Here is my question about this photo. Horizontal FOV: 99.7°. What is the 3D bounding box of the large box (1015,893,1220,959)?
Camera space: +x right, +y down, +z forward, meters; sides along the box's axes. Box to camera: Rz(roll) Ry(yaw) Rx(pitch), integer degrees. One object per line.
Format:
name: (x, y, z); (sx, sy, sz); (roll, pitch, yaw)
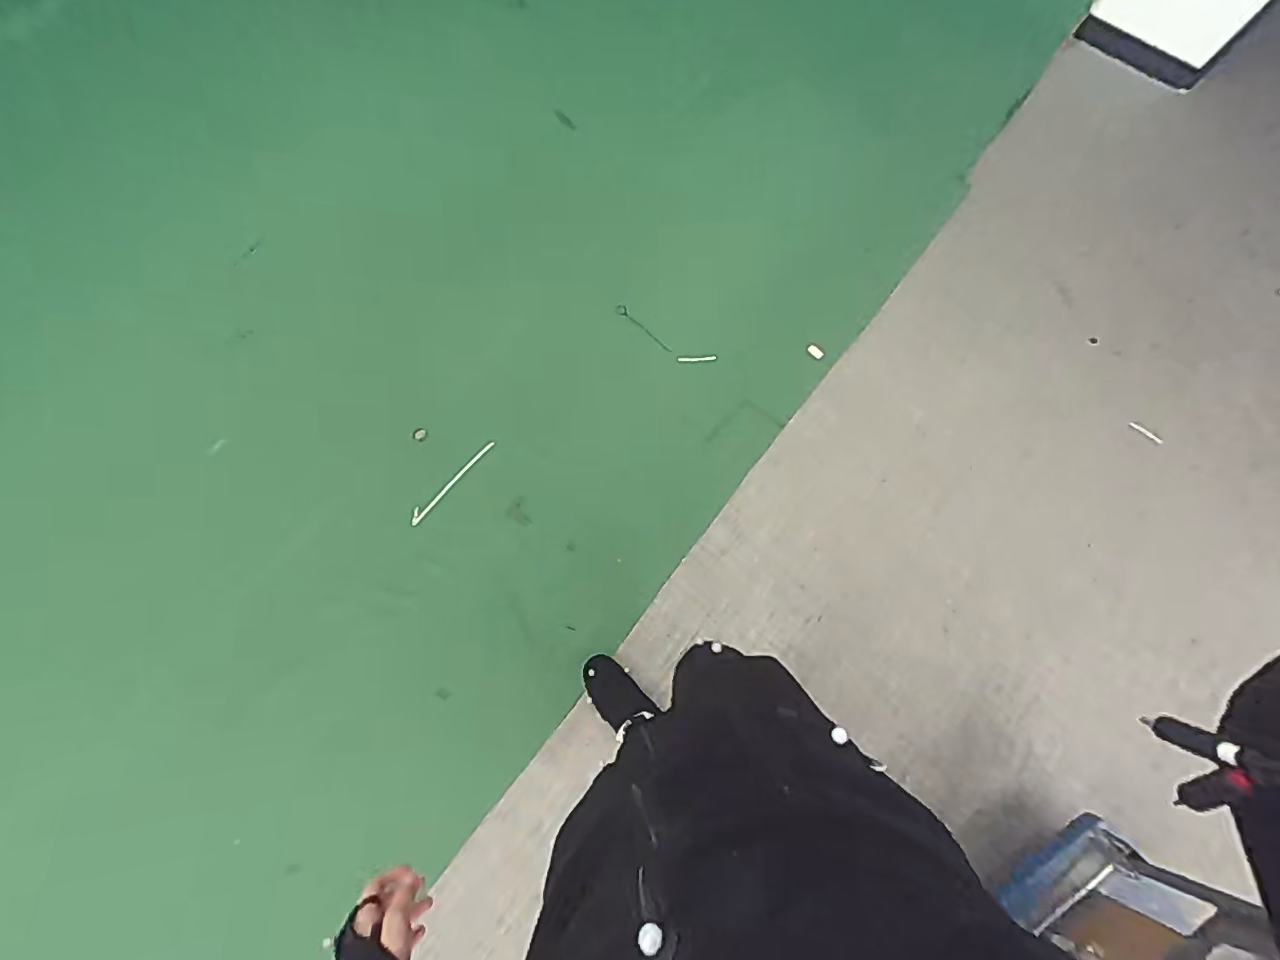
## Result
large box: (0.956, 1.080, 0.958); (0.320, 0.320, 0.408); (-29, 77, -10)
